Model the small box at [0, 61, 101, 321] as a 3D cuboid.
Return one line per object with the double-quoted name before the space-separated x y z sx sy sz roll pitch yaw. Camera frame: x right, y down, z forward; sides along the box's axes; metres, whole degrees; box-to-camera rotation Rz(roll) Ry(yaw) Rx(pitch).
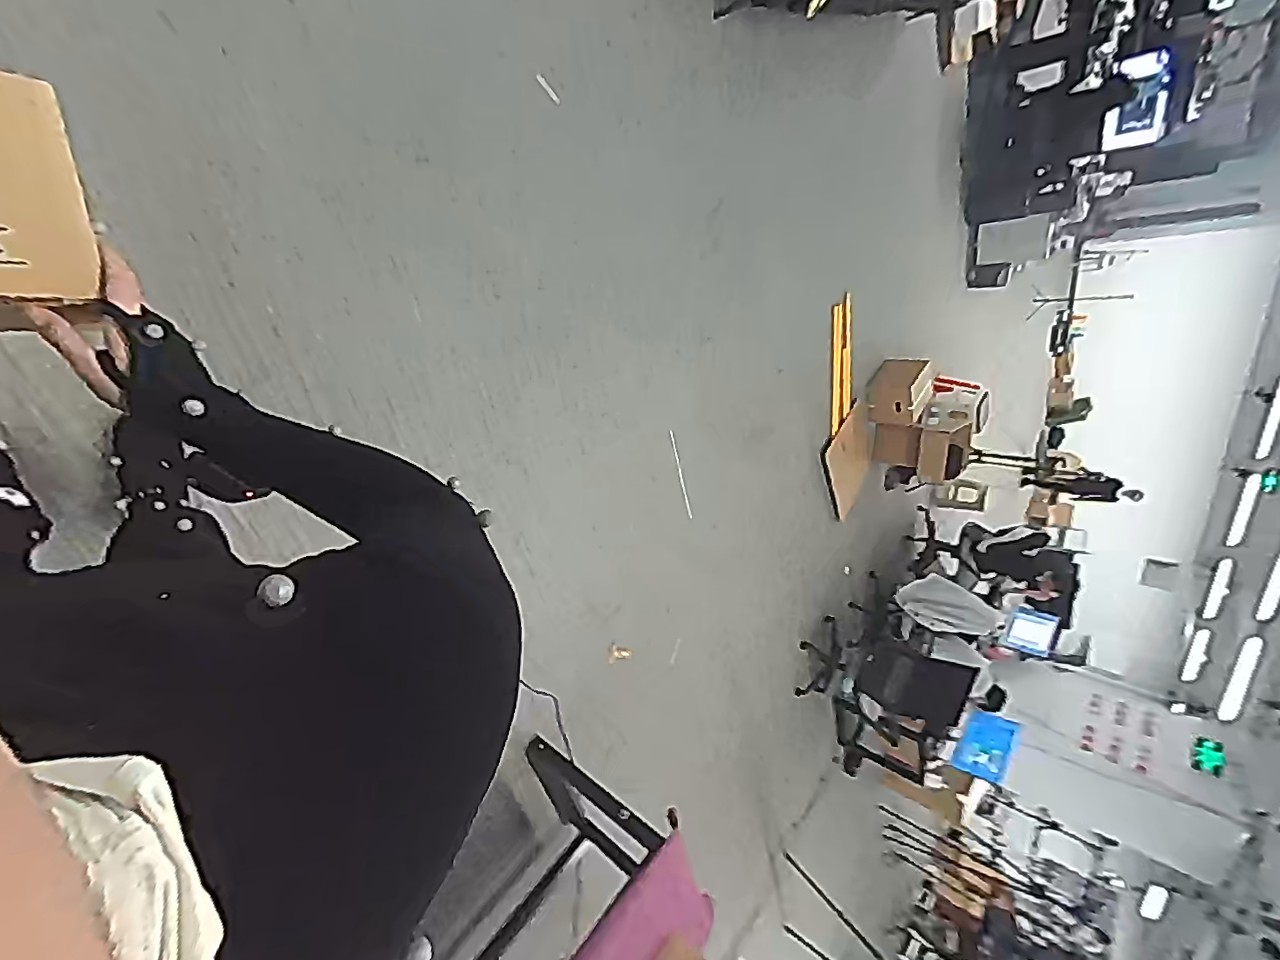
"small box" -0.578 -0.231 0.446 0.168 0.176 0.179 -16 104 -45
